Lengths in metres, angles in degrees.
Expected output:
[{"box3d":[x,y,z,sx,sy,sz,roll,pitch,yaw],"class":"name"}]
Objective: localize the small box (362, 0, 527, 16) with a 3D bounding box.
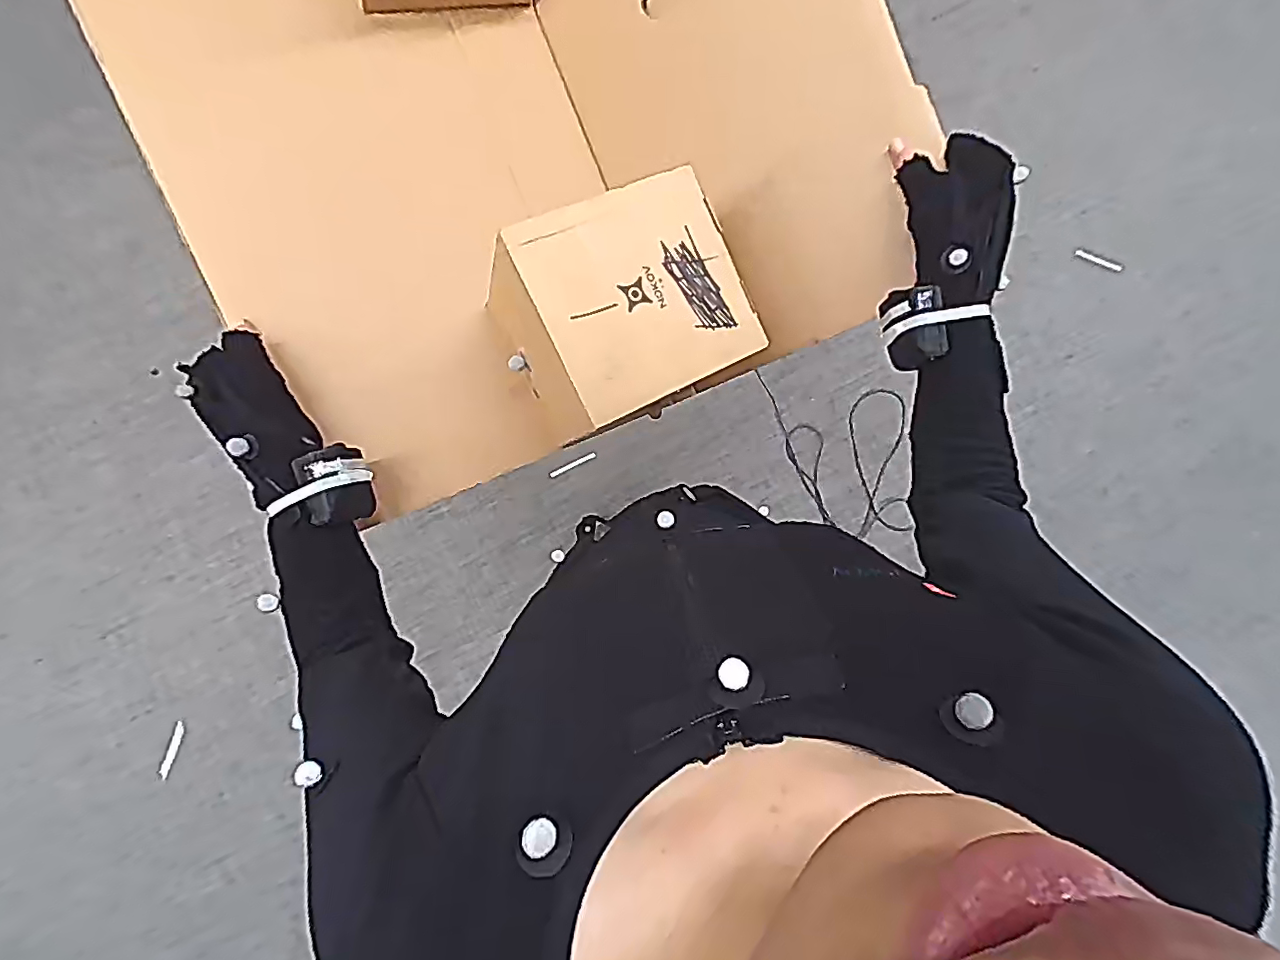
[{"box3d":[-0.191,-0.555,0.474,0.179,0.176,0.168,-20,94,-19],"class":"small box"}]
